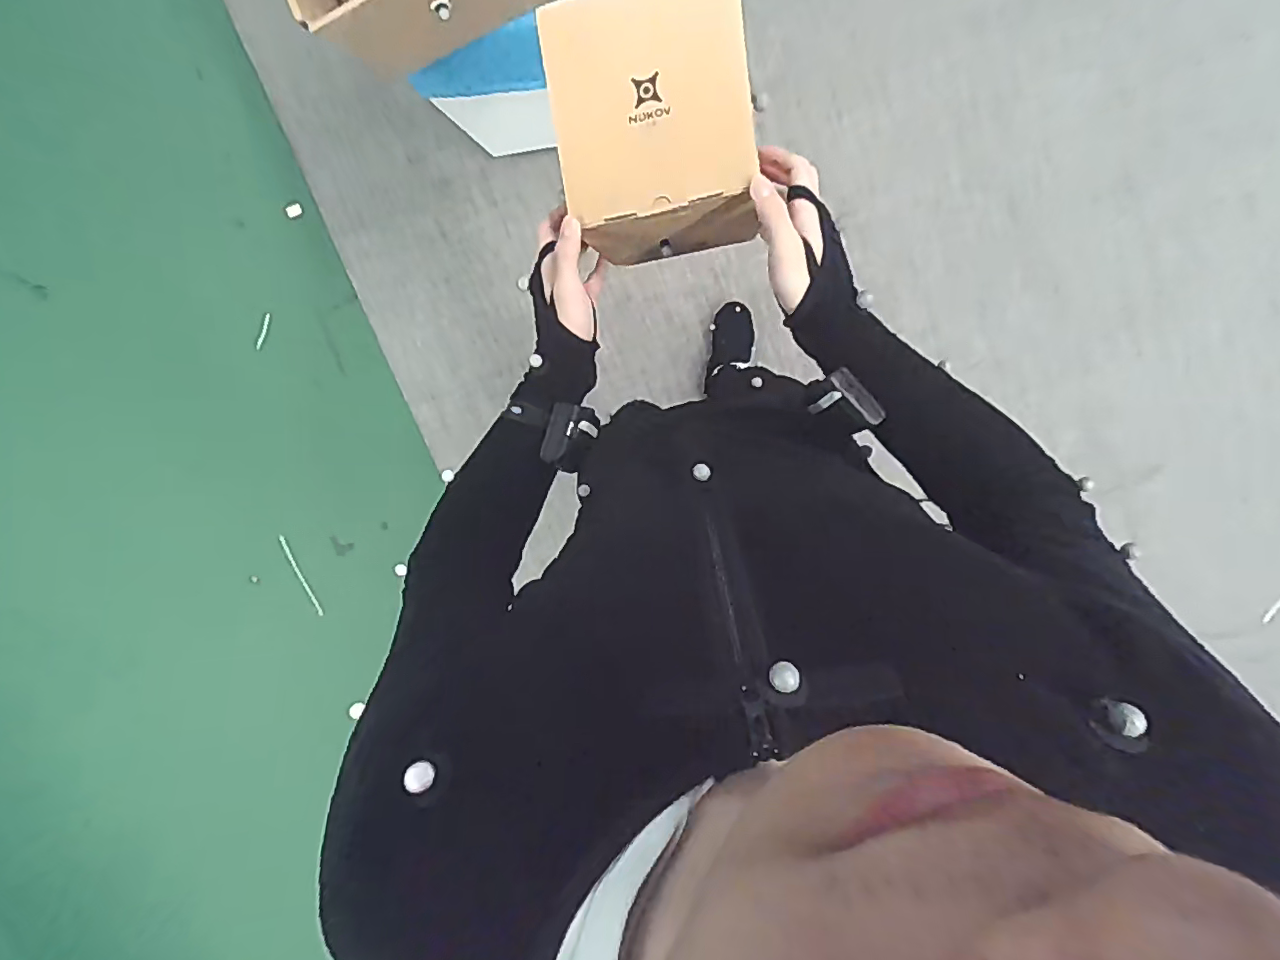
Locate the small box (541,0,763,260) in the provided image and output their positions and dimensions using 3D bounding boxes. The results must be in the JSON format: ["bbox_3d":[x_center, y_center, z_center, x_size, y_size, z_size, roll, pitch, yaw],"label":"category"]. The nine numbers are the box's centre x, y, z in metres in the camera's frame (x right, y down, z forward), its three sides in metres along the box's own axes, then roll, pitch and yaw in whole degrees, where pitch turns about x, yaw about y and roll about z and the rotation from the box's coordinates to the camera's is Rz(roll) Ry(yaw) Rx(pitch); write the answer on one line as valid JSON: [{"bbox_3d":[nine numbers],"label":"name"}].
[{"bbox_3d":[0.022,-0.330,0.517,0.168,0.176,0.179,-7,100,12],"label":"small box"}]
